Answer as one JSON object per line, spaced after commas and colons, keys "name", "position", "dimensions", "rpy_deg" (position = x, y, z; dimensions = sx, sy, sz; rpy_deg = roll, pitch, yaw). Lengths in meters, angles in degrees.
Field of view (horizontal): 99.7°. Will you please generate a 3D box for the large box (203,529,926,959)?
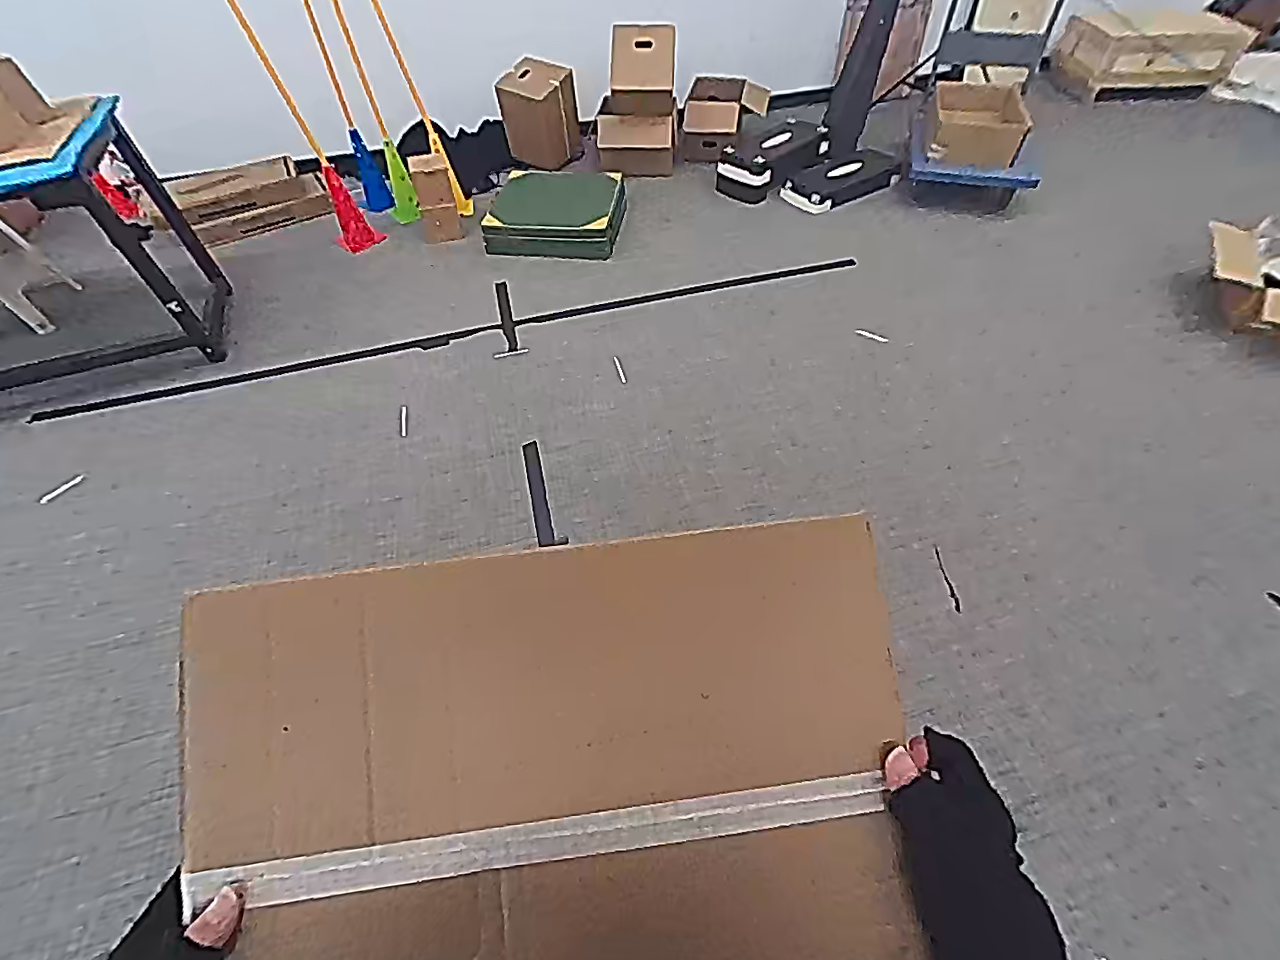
{"name": "large box", "position": [-0.048, 0.225, 0.461], "dimensions": [0.408, 0.320, 0.320], "rpy_deg": [-7, 82, -3]}
